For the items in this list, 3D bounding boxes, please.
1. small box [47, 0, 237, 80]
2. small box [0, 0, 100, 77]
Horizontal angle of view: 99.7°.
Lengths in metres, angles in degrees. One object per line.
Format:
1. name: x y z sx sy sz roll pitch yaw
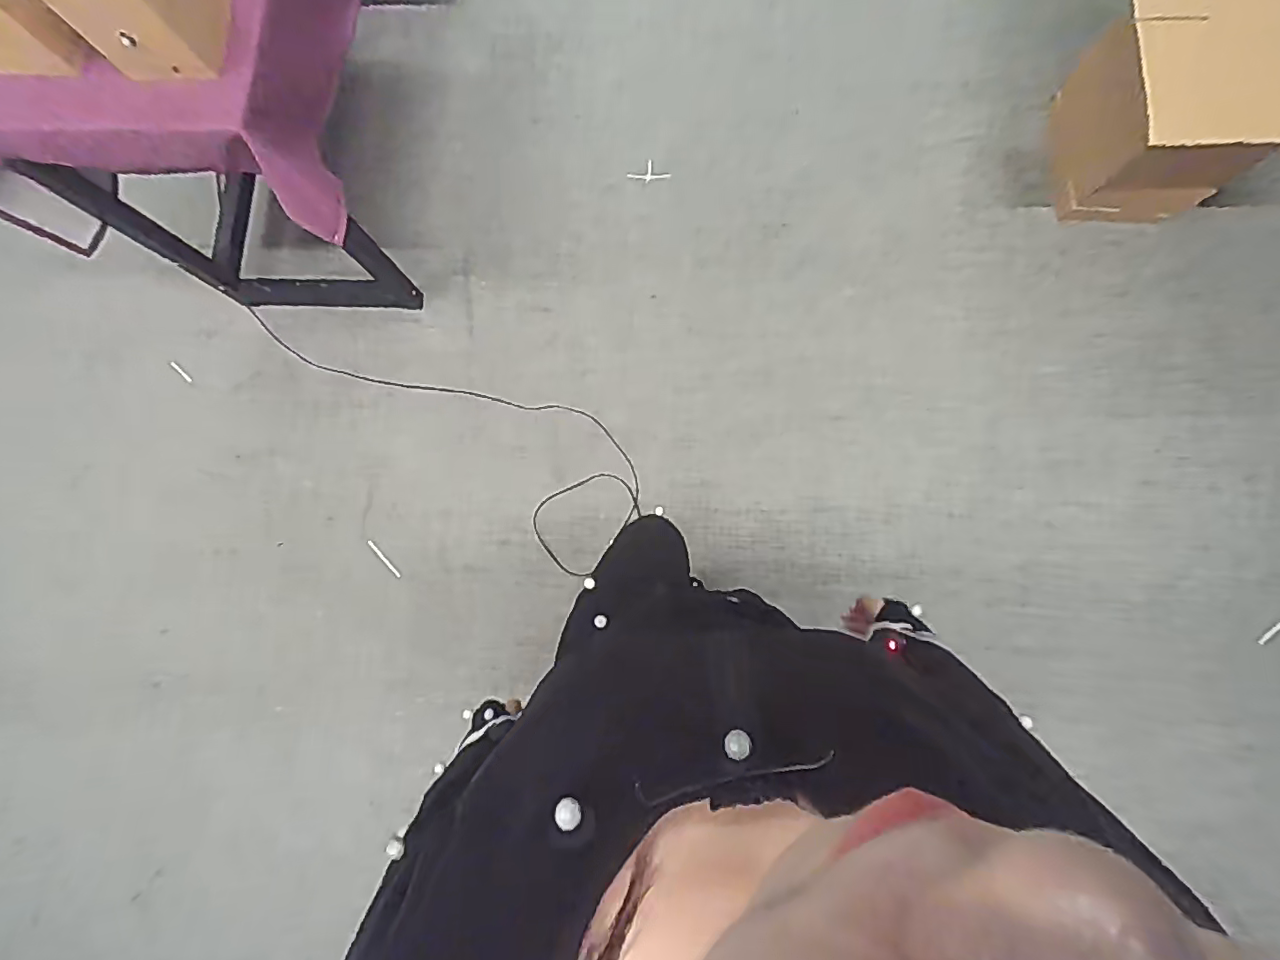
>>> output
1. small box: -0.810 -0.799 0.888 0.168 0.176 0.179 3 82 4
2. small box: -1.067 -0.818 0.906 0.179 0.176 0.168 4 82 4
